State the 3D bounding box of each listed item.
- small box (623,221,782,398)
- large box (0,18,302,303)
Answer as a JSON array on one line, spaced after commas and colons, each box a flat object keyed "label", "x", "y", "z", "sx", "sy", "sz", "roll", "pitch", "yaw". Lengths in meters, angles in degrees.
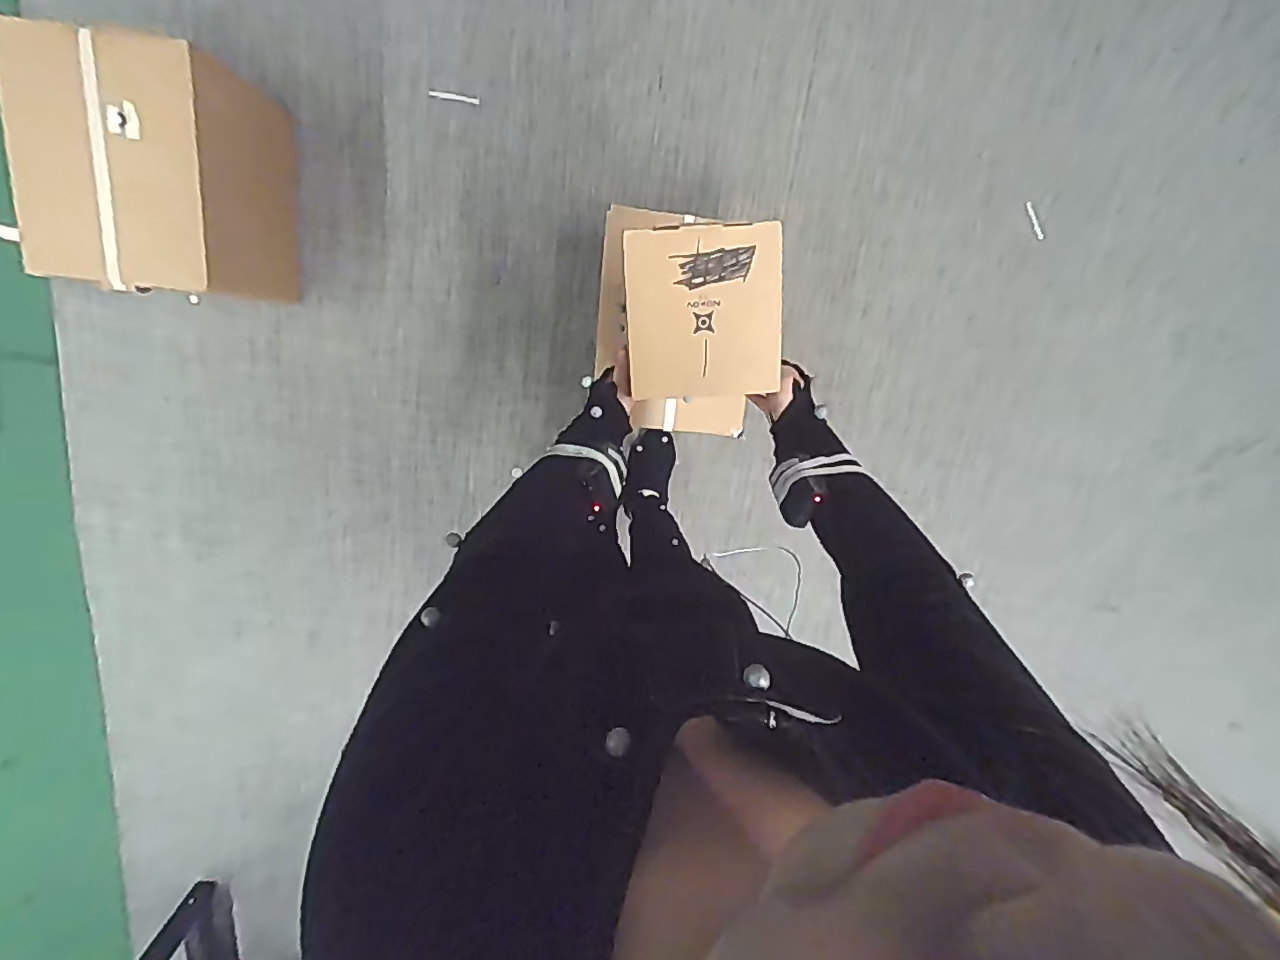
[{"label": "small box", "x": 0.065, "y": -0.196, "z": 0.649, "sx": 0.168, "sy": 0.176, "sz": 0.179, "roll": -4, "pitch": 105, "yaw": -1}, {"label": "large box", "x": -0.923, "y": -0.585, "z": 1.080, "sx": 0.320, "sy": 0.320, "sz": 0.408, "roll": 5, "pitch": 103, "yaw": -4}]
